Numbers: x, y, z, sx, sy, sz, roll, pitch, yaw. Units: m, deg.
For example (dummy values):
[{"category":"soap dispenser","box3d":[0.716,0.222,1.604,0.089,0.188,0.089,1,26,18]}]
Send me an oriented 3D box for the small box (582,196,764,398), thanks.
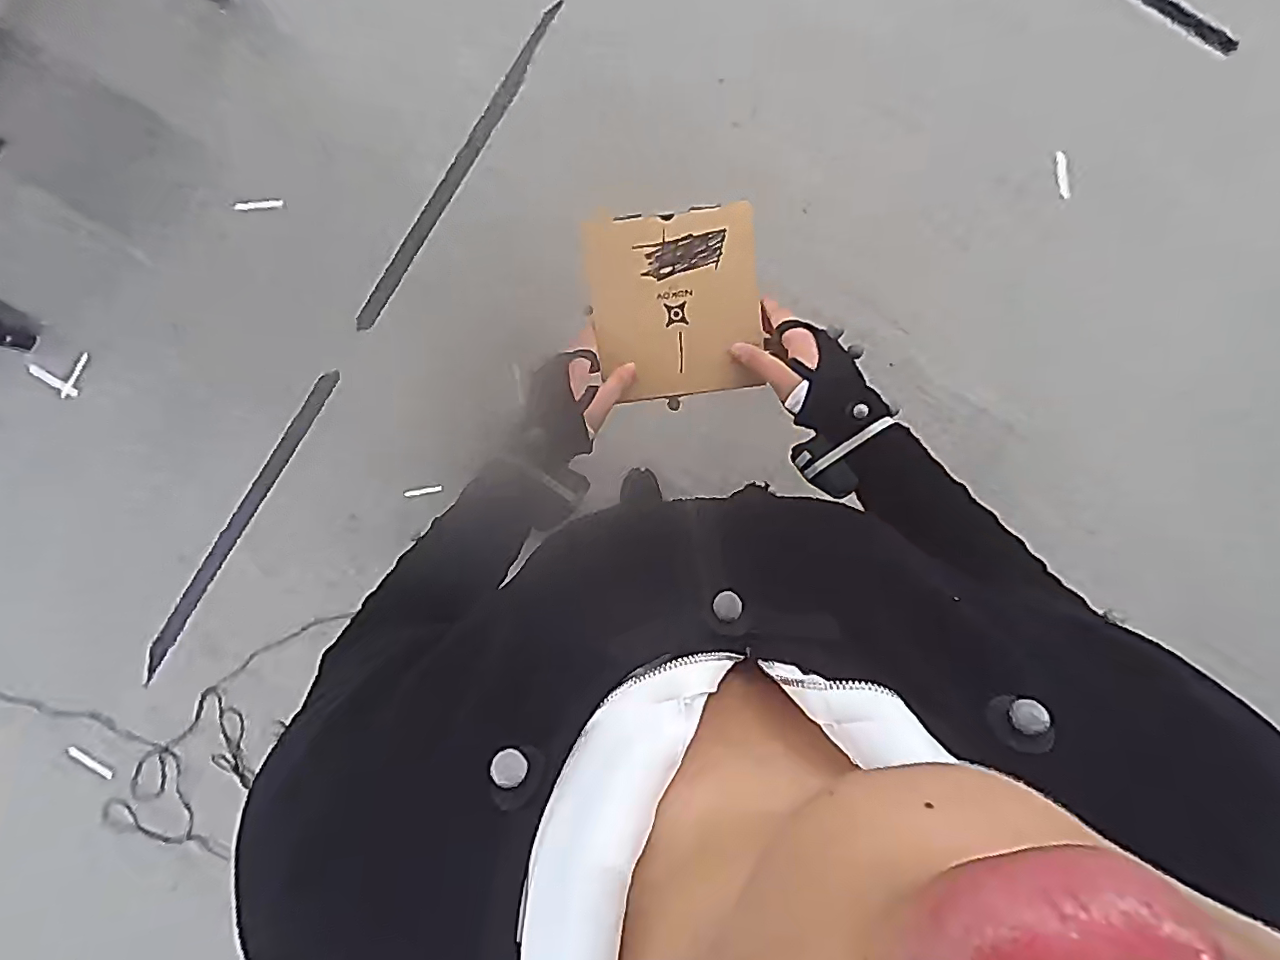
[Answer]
[{"category":"small box","box3d":[0.033,-0.189,0.608,0.168,0.176,0.179,-8,99,2]}]
